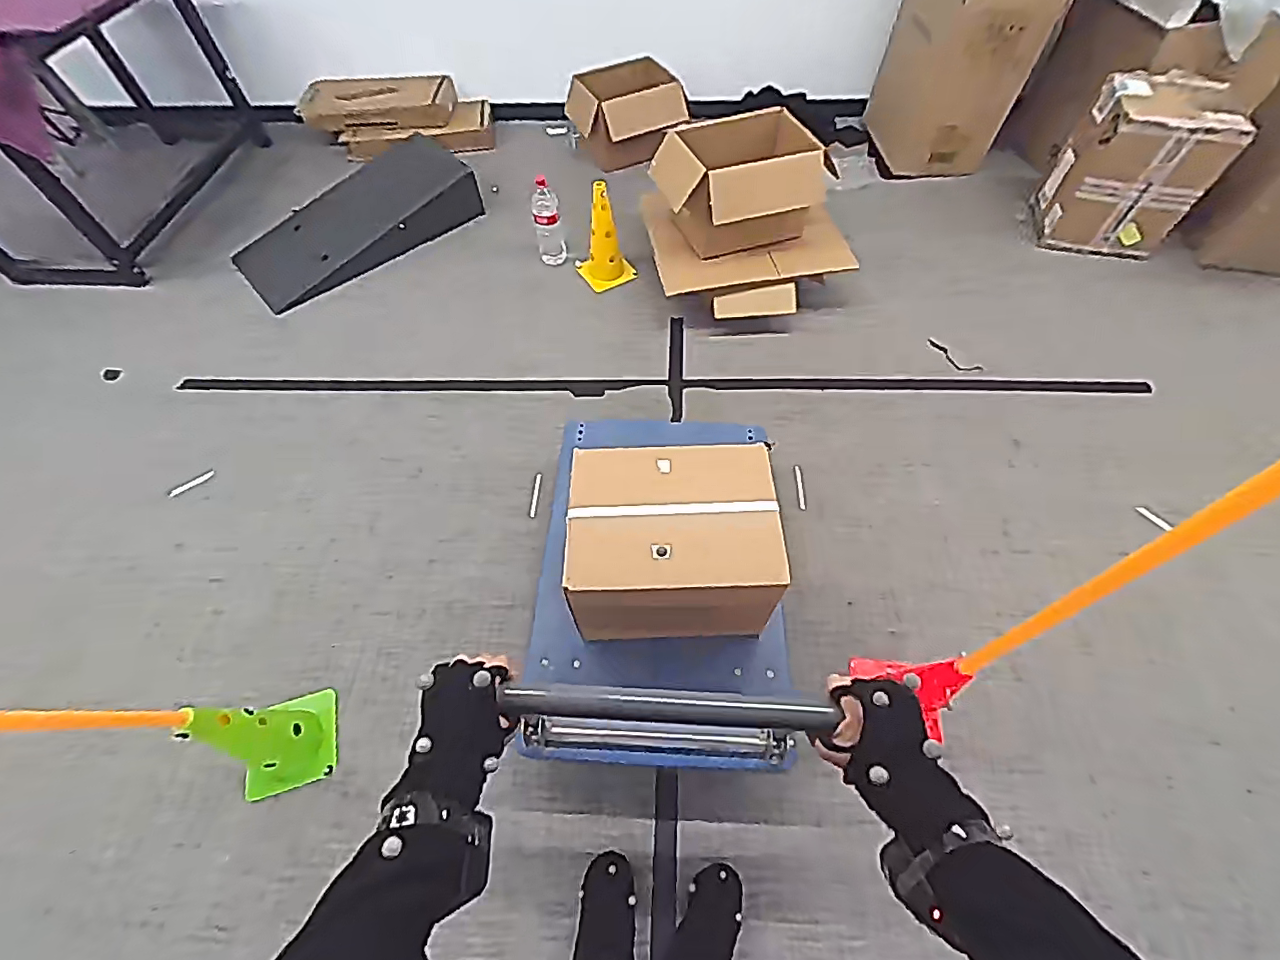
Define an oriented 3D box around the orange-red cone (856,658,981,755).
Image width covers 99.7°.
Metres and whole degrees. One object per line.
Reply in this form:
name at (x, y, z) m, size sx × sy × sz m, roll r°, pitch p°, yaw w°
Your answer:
orange-red cone at (0.617, 0.447, 1.147) m, size 0.199 × 0.360 × 0.198 m, roll 7°, pitch 59°, yaw 5°
